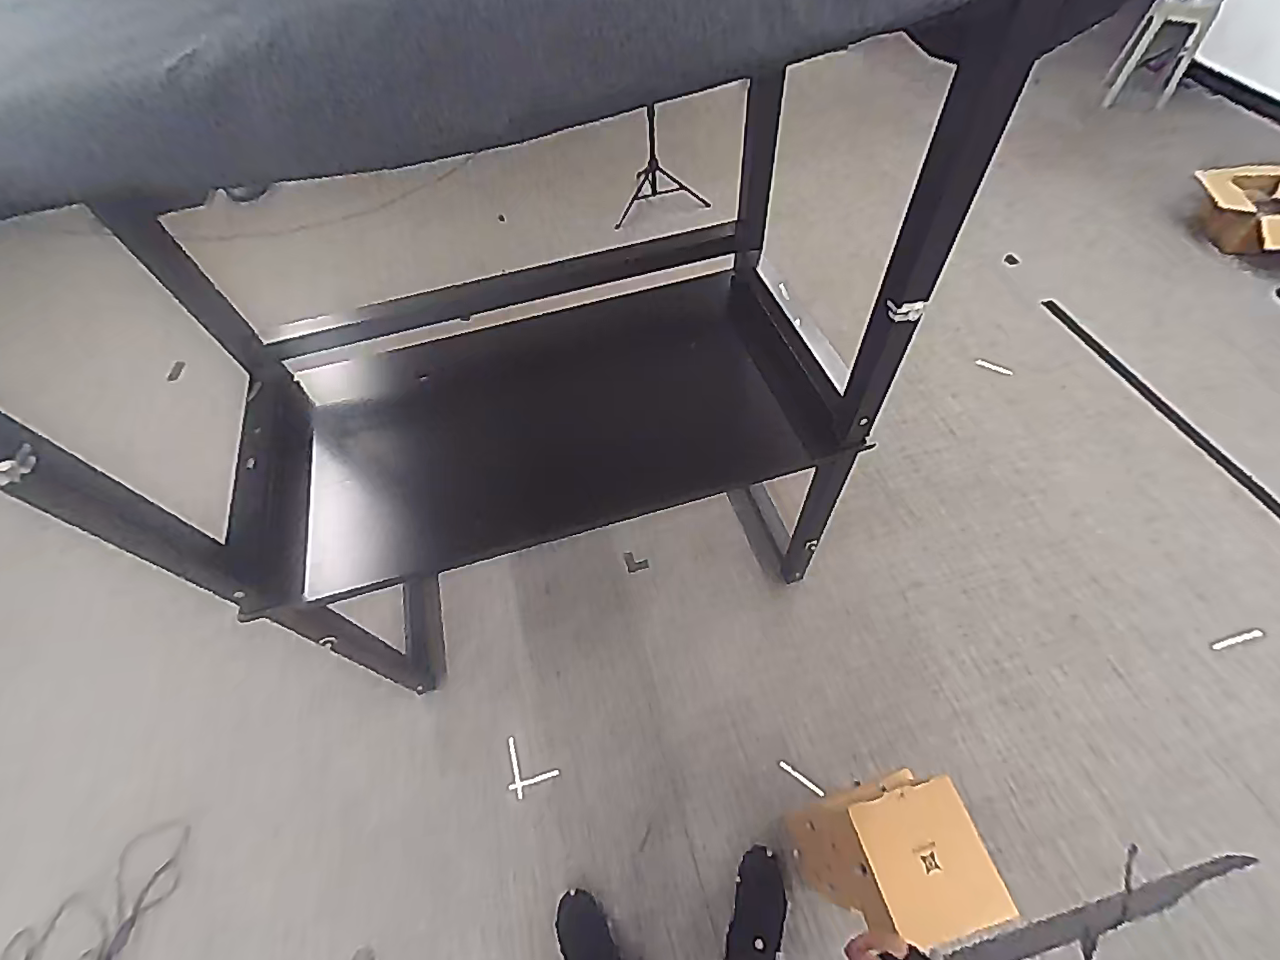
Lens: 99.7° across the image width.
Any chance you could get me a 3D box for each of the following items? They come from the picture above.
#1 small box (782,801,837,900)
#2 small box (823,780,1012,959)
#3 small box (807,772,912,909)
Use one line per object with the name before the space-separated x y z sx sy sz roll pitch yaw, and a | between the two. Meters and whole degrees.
small box | 0.446 0.828 1.241 0.179 0.176 0.168 -16 57 -5
small box | 0.403 0.576 0.821 0.168 0.176 0.179 -15 58 -5
small box | 0.417 0.645 0.969 0.179 0.176 0.168 -17 58 -7
